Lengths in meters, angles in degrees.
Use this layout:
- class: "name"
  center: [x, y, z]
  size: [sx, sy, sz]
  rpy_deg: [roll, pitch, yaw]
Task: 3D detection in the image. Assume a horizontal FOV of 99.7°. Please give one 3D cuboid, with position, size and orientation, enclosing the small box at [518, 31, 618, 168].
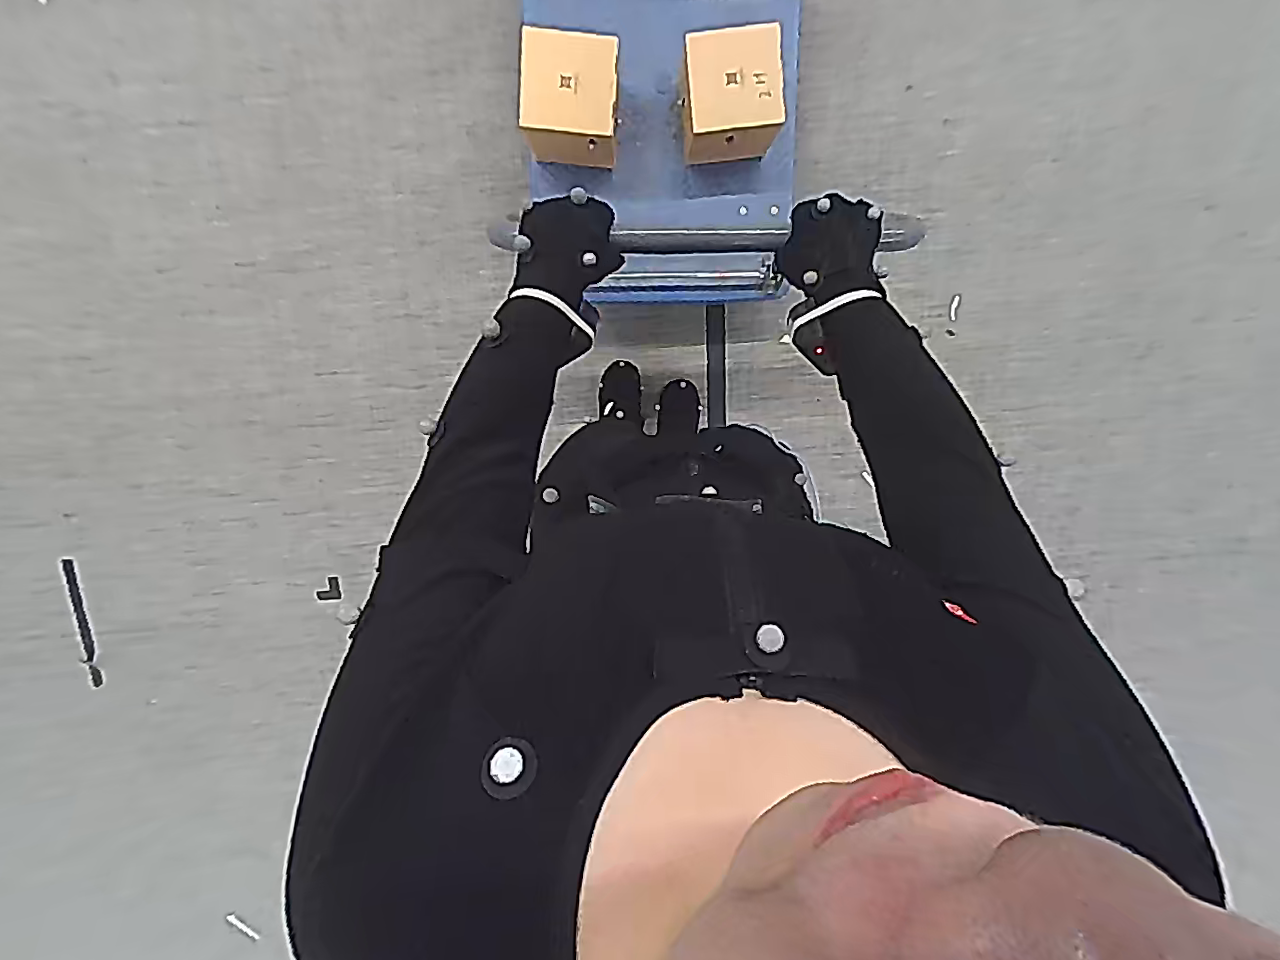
- class: "small box"
  center: [-0.137, -0.741, 1.073]
  size: [0.179, 0.176, 0.168]
  rpy_deg: [4, 101, -3]

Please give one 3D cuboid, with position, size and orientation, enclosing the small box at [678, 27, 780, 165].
- class: "small box"
  center: [0.169, -0.751, 1.077]
  size: [0.179, 0.176, 0.168]
  rpy_deg: [-6, 102, 0]
